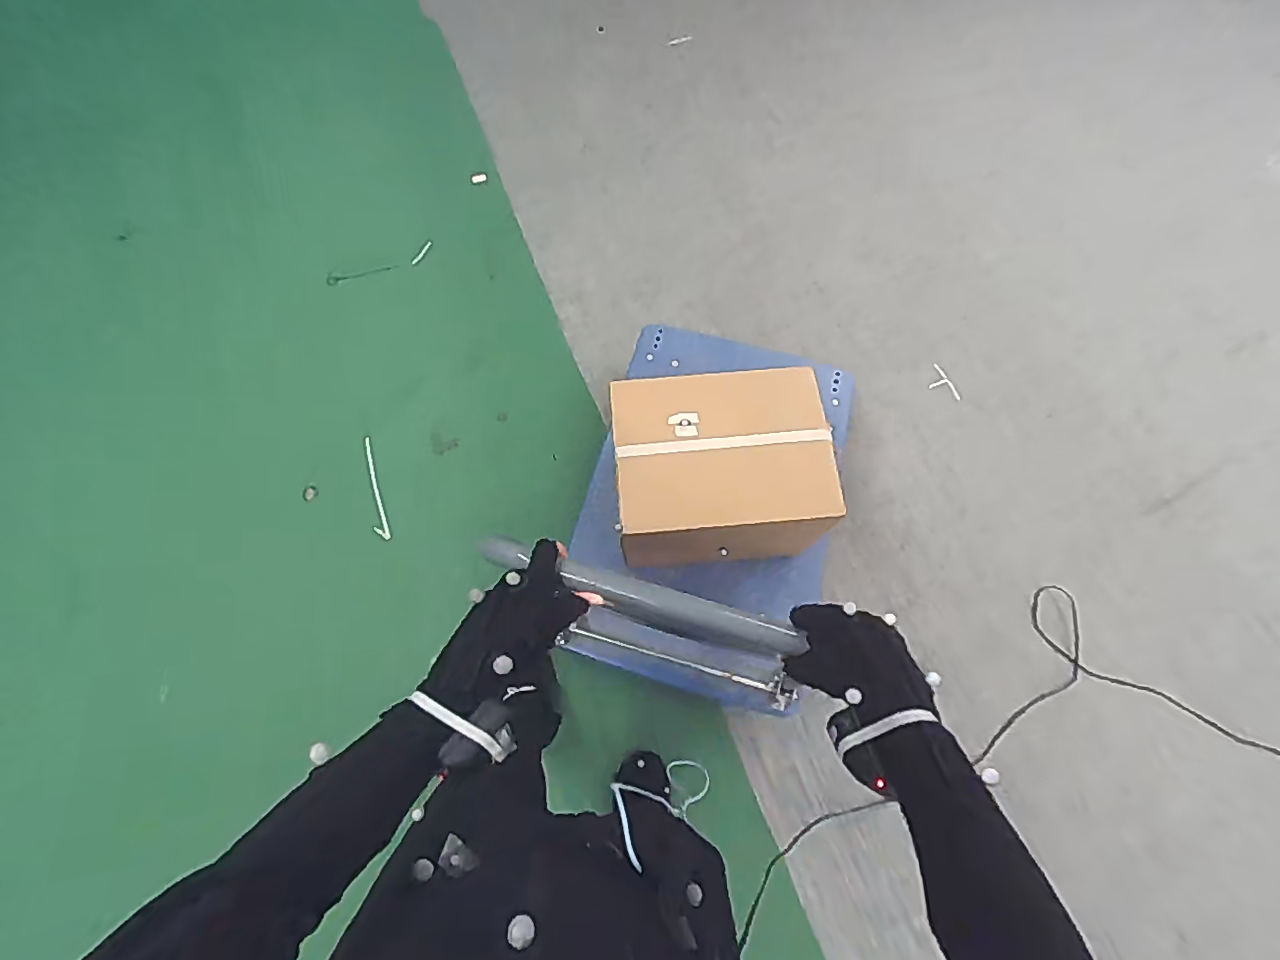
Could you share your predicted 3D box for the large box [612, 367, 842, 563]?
[{"bbox_3d":[0.161,-0.014,1.164,0.408,0.320,0.320,-5,69,0],"label":"large box"}]
